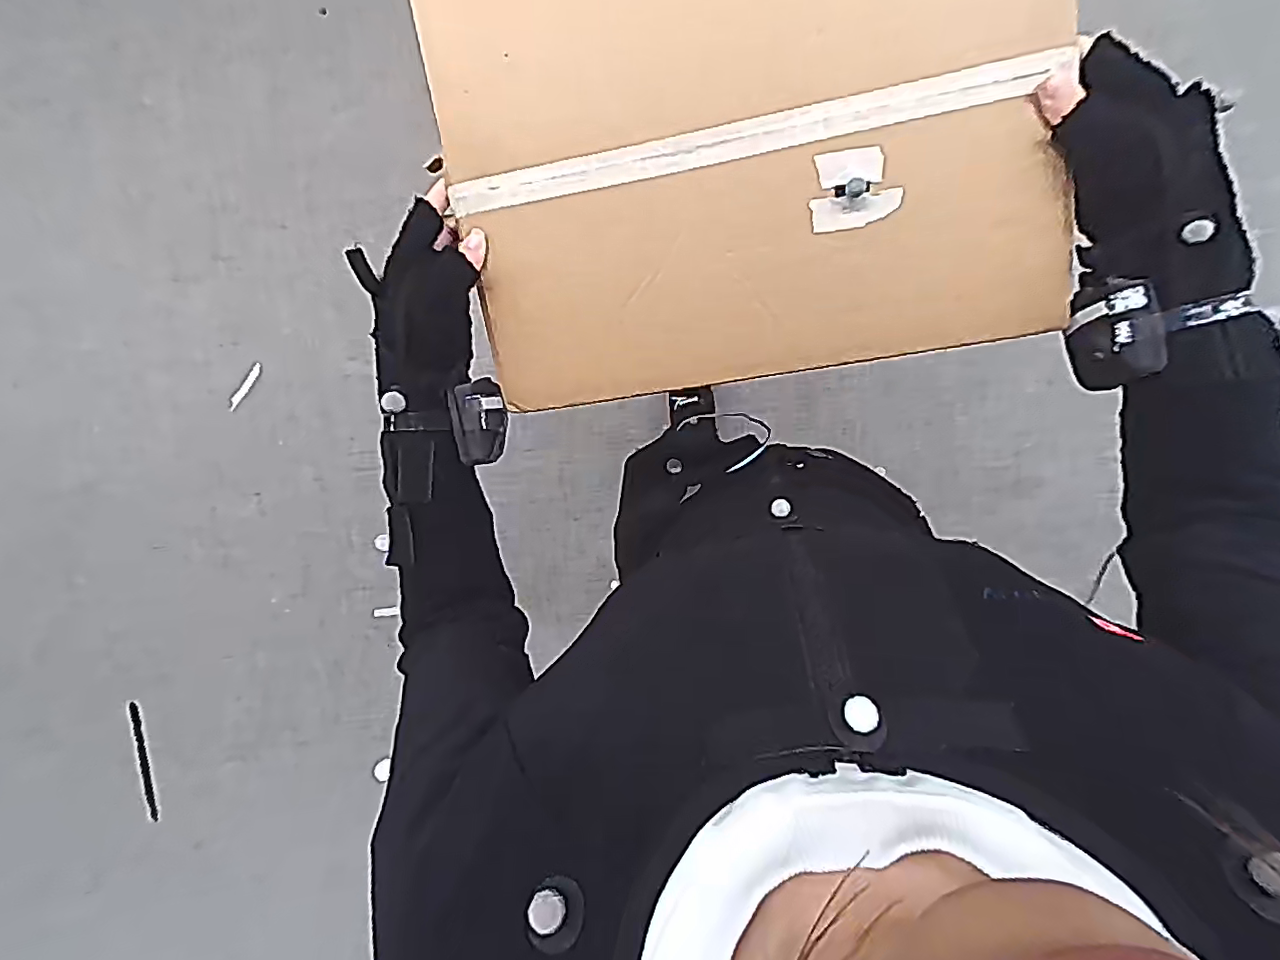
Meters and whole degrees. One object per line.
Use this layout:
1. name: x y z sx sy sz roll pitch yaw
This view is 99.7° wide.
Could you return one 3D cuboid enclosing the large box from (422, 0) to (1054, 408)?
1. large box: 0.081 -0.272 0.515 0.408 0.320 0.320 -9 105 7
